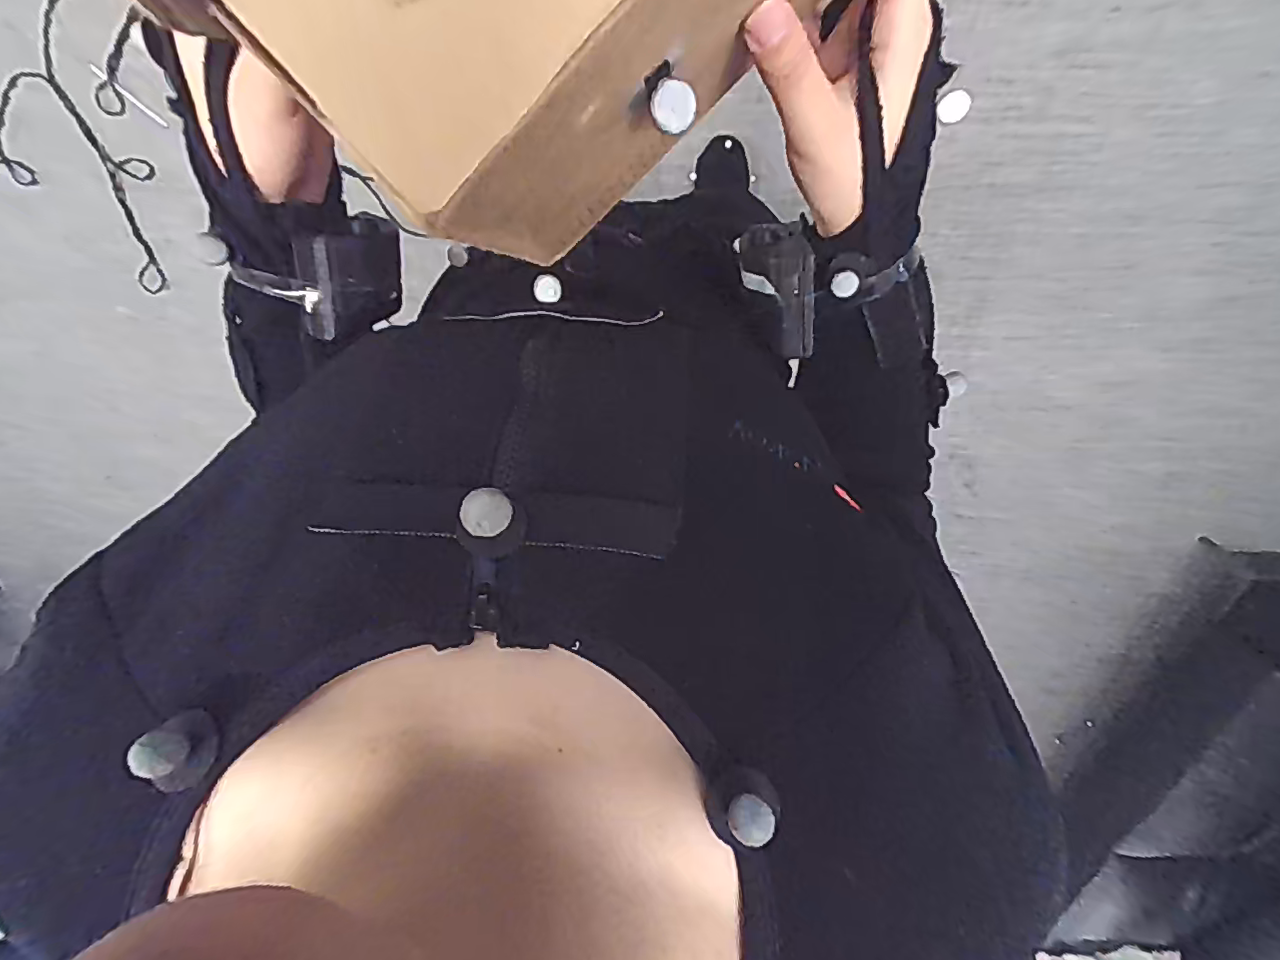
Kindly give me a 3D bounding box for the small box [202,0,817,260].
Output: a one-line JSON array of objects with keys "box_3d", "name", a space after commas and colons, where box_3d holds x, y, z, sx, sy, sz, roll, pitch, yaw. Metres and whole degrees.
[{"box_3d": [-0.035, -0.193, 0.173, 0.179, 0.176, 0.168, -40, 103, 14], "name": "small box"}]
